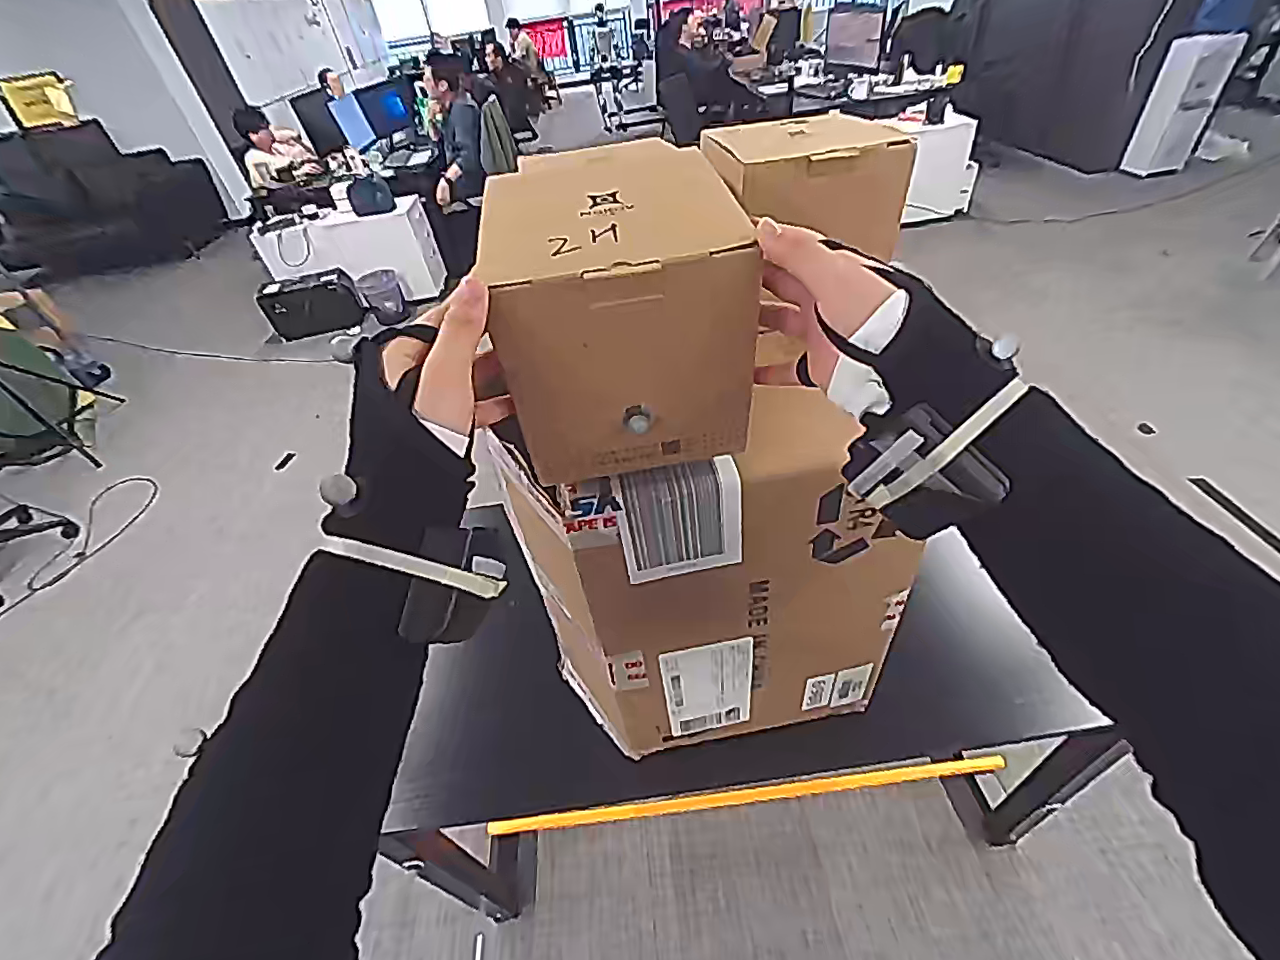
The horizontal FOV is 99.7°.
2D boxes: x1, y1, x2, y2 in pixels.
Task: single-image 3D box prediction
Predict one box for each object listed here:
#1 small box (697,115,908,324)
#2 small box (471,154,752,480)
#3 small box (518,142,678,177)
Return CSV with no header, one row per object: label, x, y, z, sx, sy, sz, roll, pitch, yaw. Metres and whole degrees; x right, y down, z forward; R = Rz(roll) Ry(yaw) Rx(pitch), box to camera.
small box,0.162,-0.285,0.604,0.168,0.176,0.179,-8,43,-3
small box,-0.020,-0.126,0.422,0.168,0.176,0.179,-10,48,-2
small box,-0.035,-0.261,0.608,0.168,0.176,0.179,-13,41,-5
